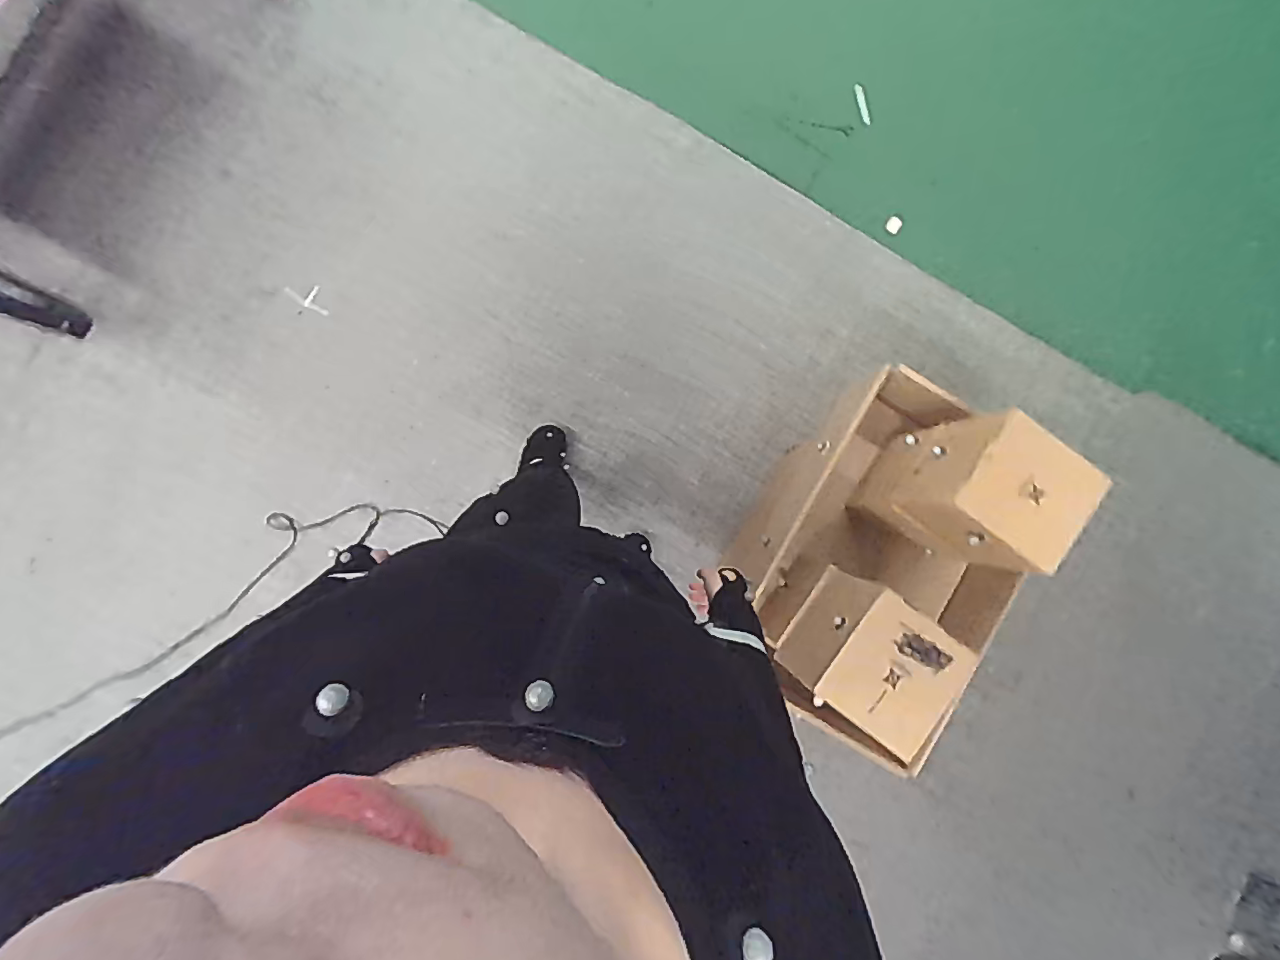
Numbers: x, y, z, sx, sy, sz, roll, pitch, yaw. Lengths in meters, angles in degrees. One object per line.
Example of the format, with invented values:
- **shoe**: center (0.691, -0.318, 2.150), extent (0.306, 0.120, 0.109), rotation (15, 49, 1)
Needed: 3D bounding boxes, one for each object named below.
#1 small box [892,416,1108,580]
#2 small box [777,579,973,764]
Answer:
- **small box**: center (0.536, 0.026, 0.829), extent (0.179, 0.176, 0.168), rotation (37, 86, -1)
- **small box**: center (0.333, 0.268, 0.805), extent (0.168, 0.176, 0.179), rotation (38, 86, -1)
